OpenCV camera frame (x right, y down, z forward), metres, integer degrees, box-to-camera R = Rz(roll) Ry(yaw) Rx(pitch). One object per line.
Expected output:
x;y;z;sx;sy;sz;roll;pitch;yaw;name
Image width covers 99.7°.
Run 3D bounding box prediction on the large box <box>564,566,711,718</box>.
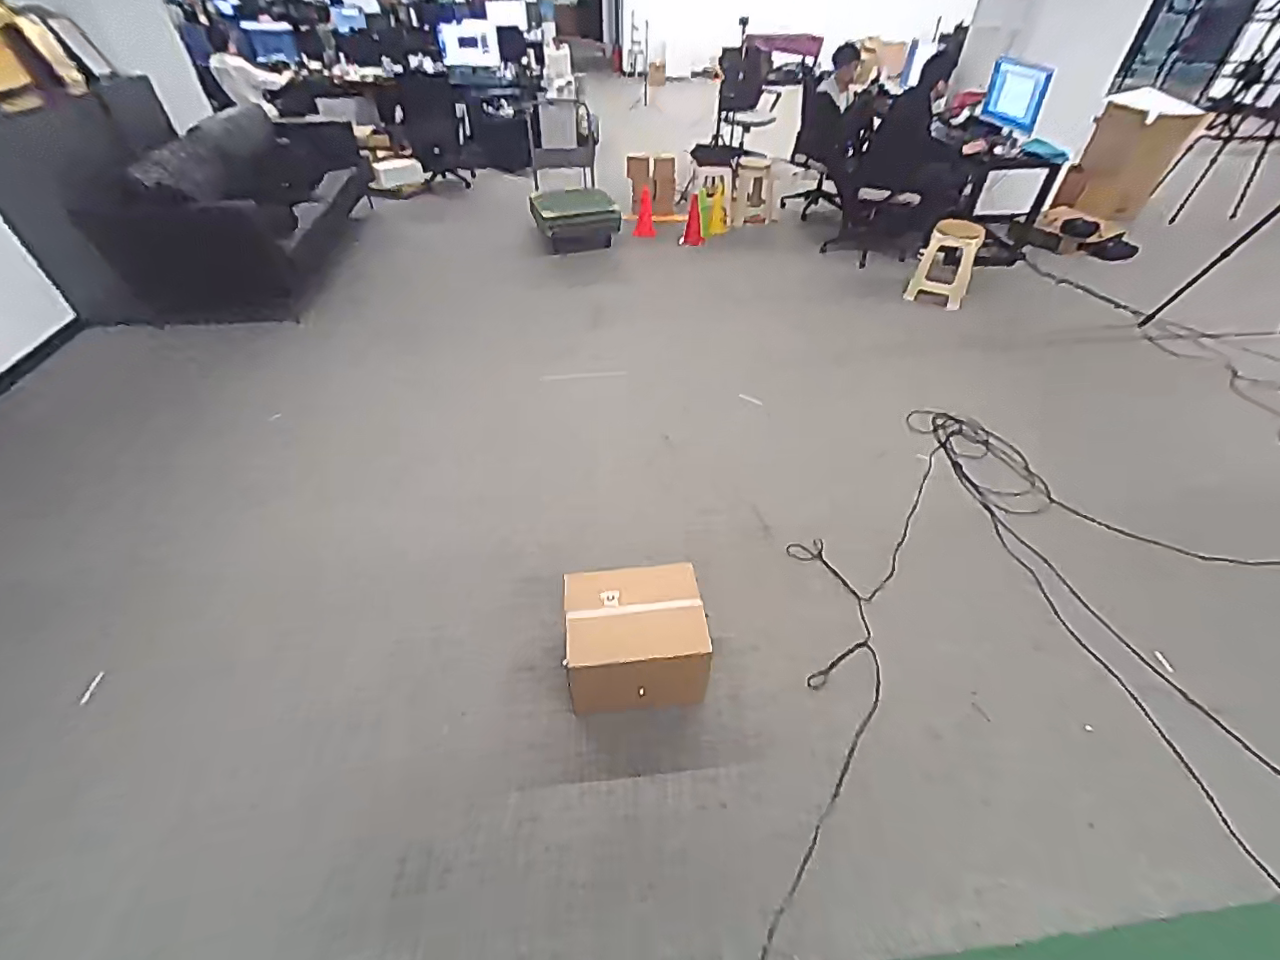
-0.015;0.505;1.686;0.408;0.320;0.320;-6;43;-5;large box
